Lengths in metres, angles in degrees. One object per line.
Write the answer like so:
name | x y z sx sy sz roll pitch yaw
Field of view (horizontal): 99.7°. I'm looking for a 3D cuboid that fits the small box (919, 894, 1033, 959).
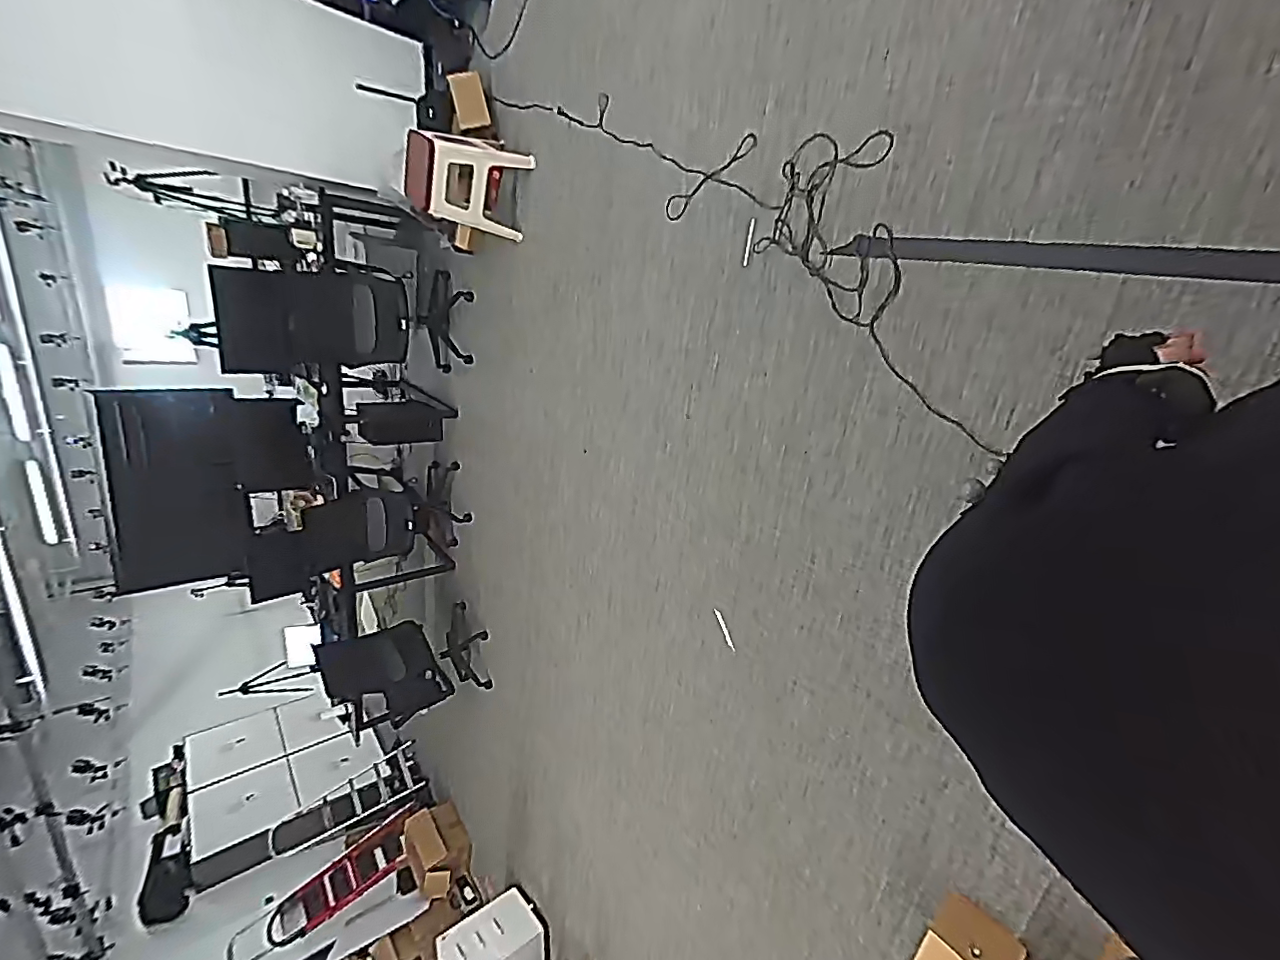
small box | 0.849 1.203 1.368 0.179 0.176 0.168 29 119 43
